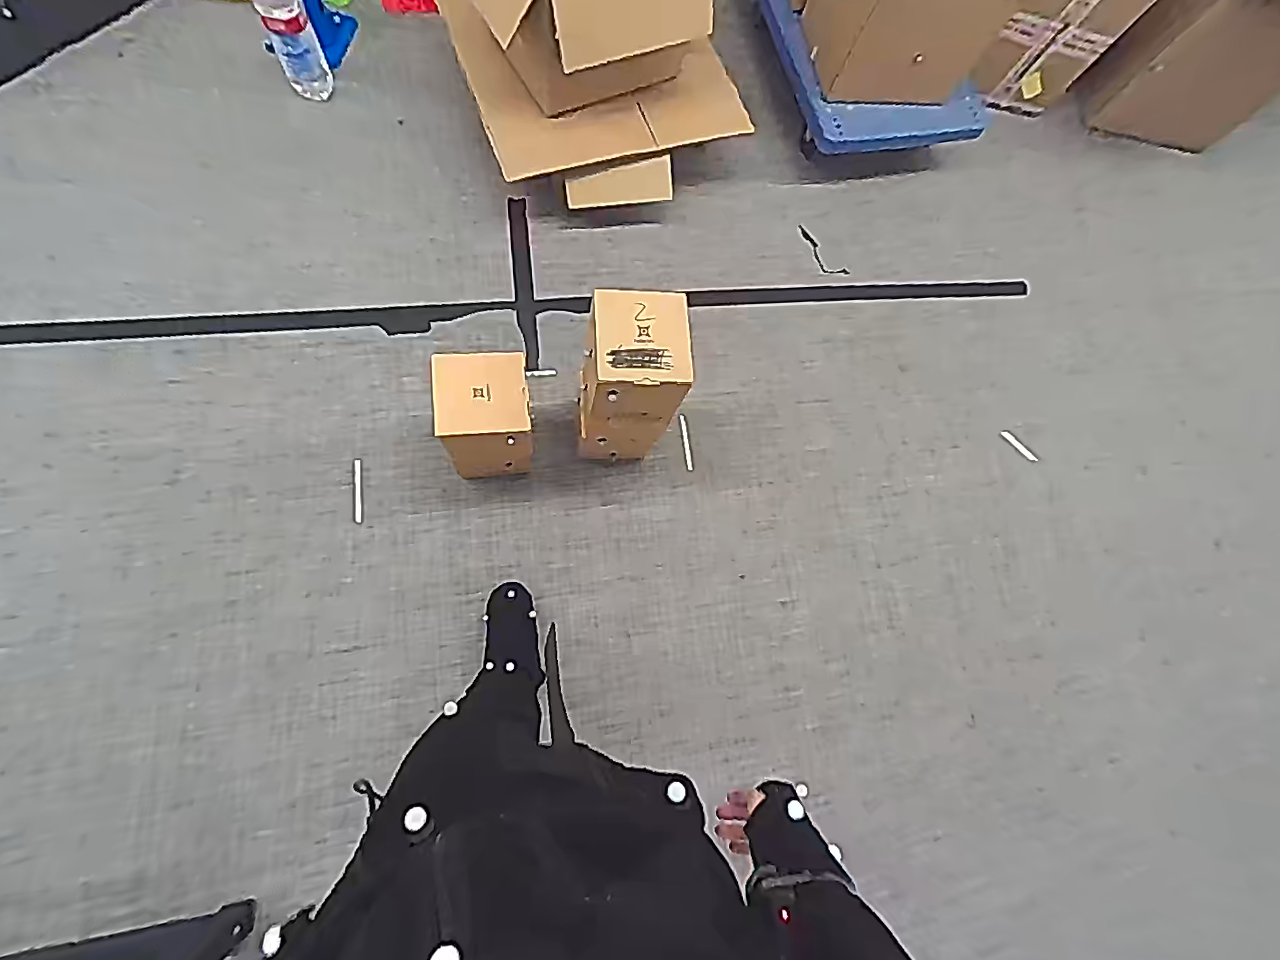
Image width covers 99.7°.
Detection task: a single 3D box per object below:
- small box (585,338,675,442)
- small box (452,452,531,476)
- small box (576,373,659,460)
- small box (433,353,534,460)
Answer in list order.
[{"bbox_3d":[-0.028,-0.183,1.152,0.168,0.176,0.179,-2,76,-11],"label":"small box"},{"bbox_3d":[-0.343,-0.112,1.249,0.168,0.176,0.179,-6,76,-13],"label":"small box"},{"bbox_3d":[-0.060,-0.150,1.310,0.179,0.176,0.168,0,77,-11],"label":"small box"},{"bbox_3d":[-0.310,-0.143,1.093,0.179,0.176,0.168,-5,77,-13],"label":"small box"}]
